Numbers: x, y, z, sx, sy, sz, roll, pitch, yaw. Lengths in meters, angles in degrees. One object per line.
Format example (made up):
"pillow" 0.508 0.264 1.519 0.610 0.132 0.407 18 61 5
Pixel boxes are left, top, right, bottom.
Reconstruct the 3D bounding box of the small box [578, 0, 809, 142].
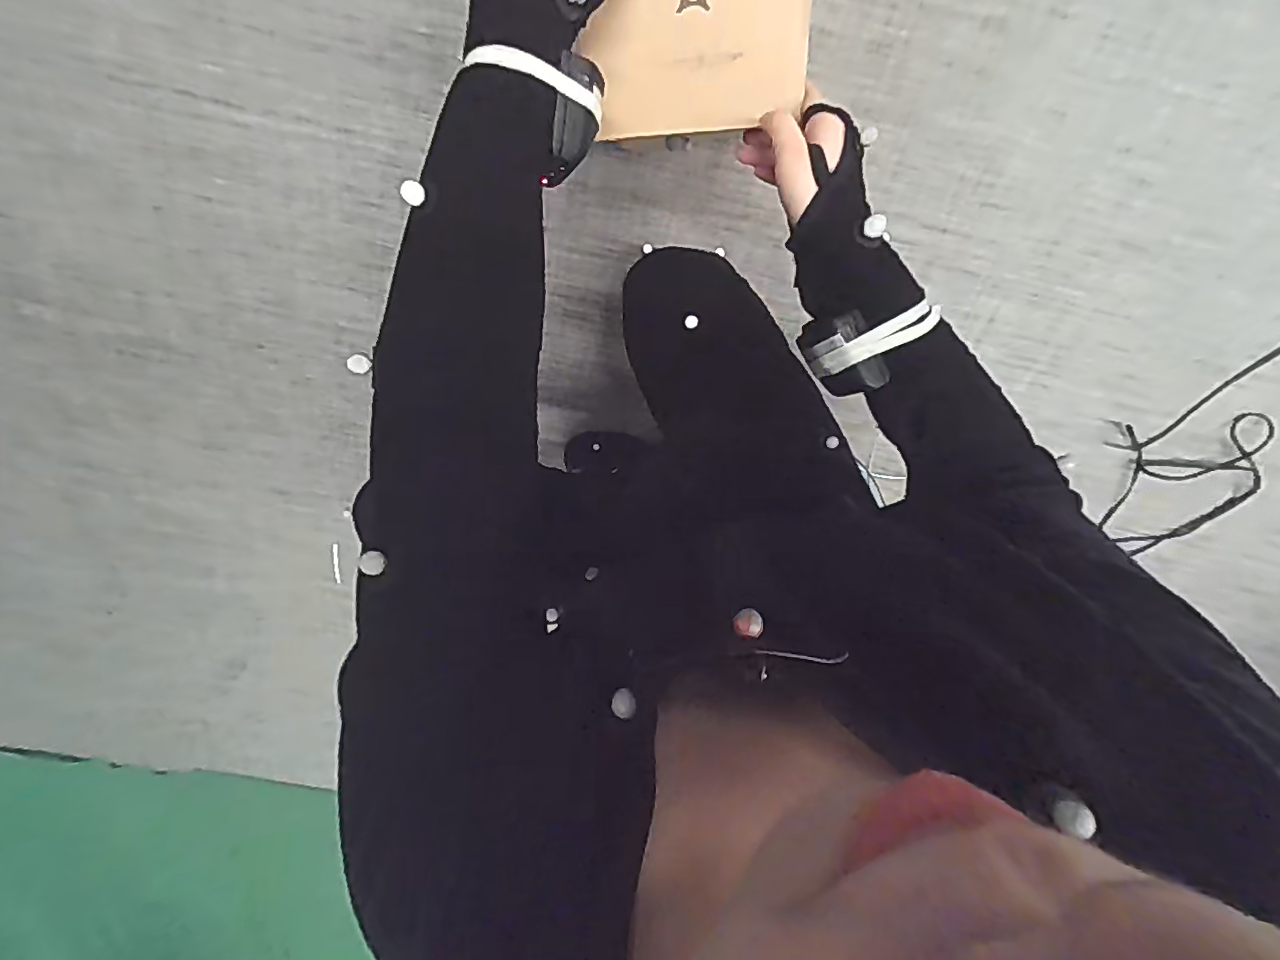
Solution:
"small box" 0.041 -0.385 0.445 0.168 0.176 0.179 0 123 5

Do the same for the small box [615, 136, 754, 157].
"small box" 0.056 -0.477 0.618 0.179 0.176 0.168 -4 119 6
